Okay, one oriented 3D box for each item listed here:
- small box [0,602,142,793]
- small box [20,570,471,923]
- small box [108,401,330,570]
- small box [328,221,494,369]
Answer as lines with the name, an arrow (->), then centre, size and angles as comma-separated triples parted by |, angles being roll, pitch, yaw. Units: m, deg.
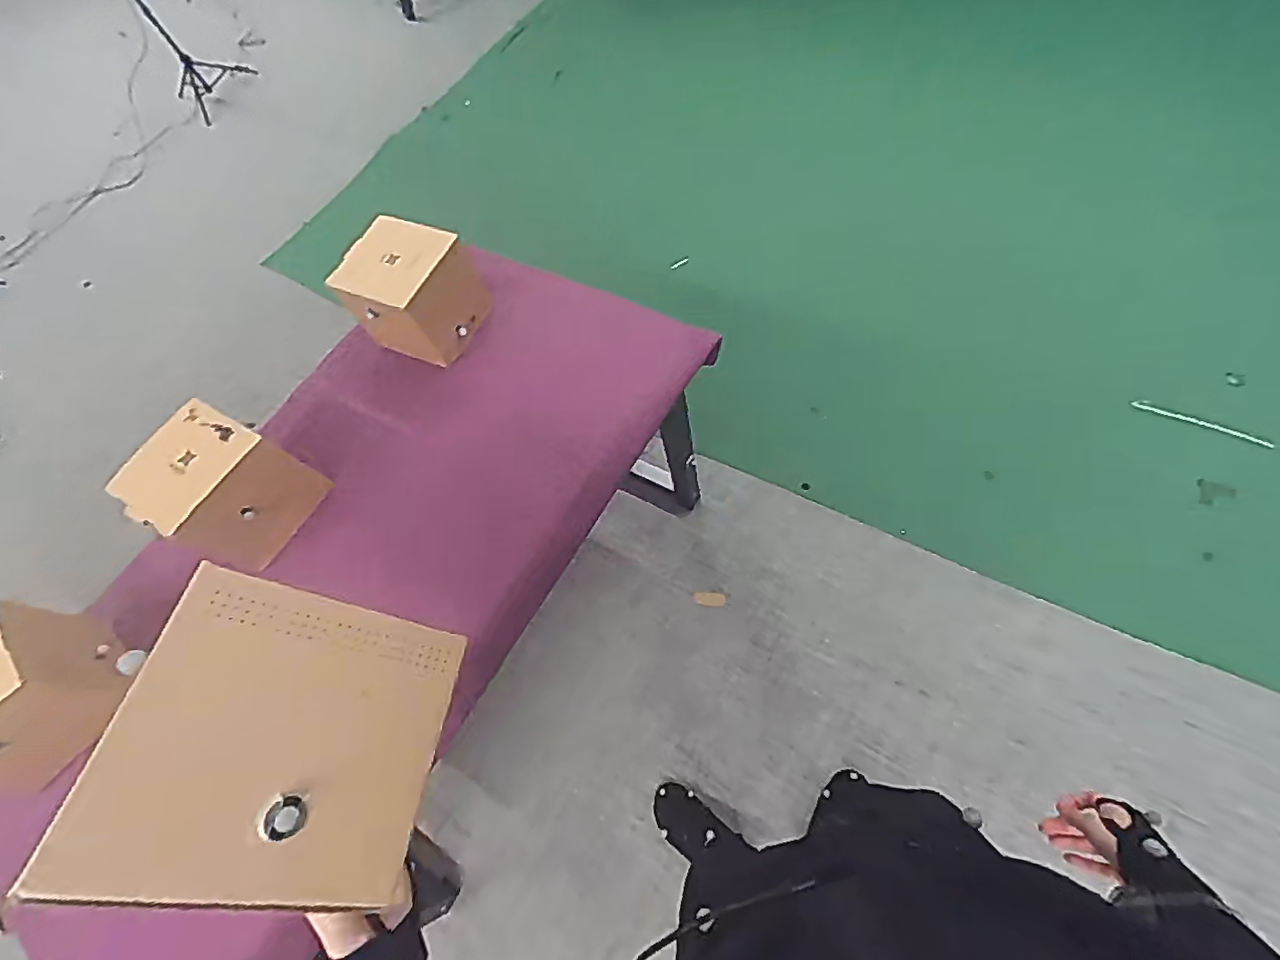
small box -> -0.847, 0.297, 0.730 | 0.168, 0.176, 0.179 | 38, 74, 23
small box -> -0.243, 0.176, 0.373 | 0.168, 0.179, 0.176 | -27, 44, 45
small box -> -0.633, 0.016, 0.836 | 0.168, 0.176, 0.179 | 26, 71, 18
small box -> -0.396, -0.324, 0.965 | 0.179, 0.176, 0.168 | 21, 71, 17
